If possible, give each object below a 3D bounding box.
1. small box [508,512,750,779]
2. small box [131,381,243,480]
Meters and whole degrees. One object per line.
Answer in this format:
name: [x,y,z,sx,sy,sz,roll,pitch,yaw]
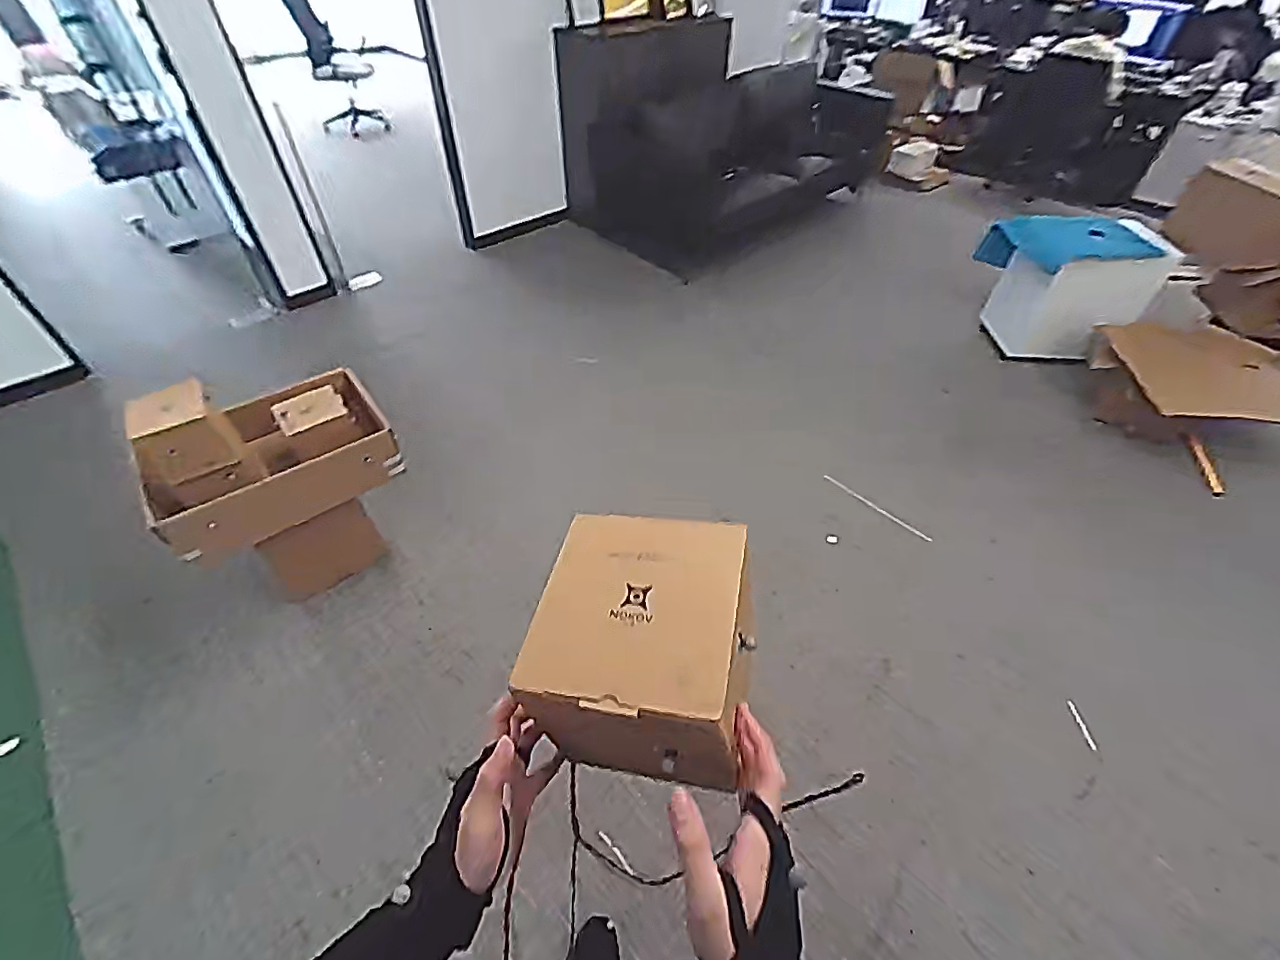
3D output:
small box: [0.010,0.151,0.498,0.168,0.176,0.179,2,47,16]
small box: [-1.174,-0.122,1.411,0.168,0.176,0.179,-26,53,-24]
